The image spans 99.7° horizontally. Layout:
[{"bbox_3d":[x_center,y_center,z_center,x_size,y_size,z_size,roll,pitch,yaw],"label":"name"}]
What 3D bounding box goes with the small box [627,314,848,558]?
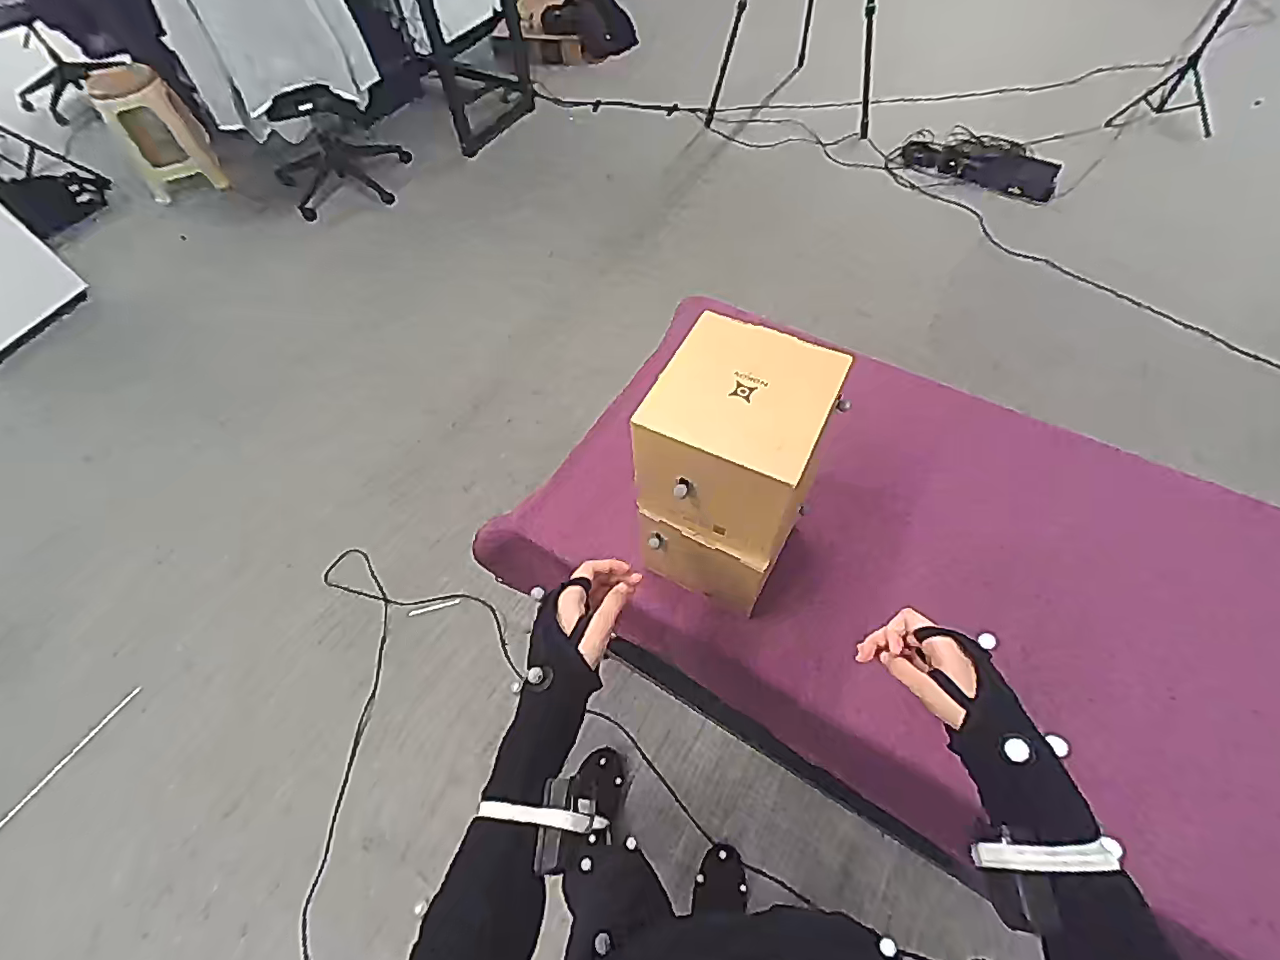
[{"bbox_3d":[0.103,-0.042,0.589,0.168,0.176,0.179,22,60,17],"label":"small box"}]
